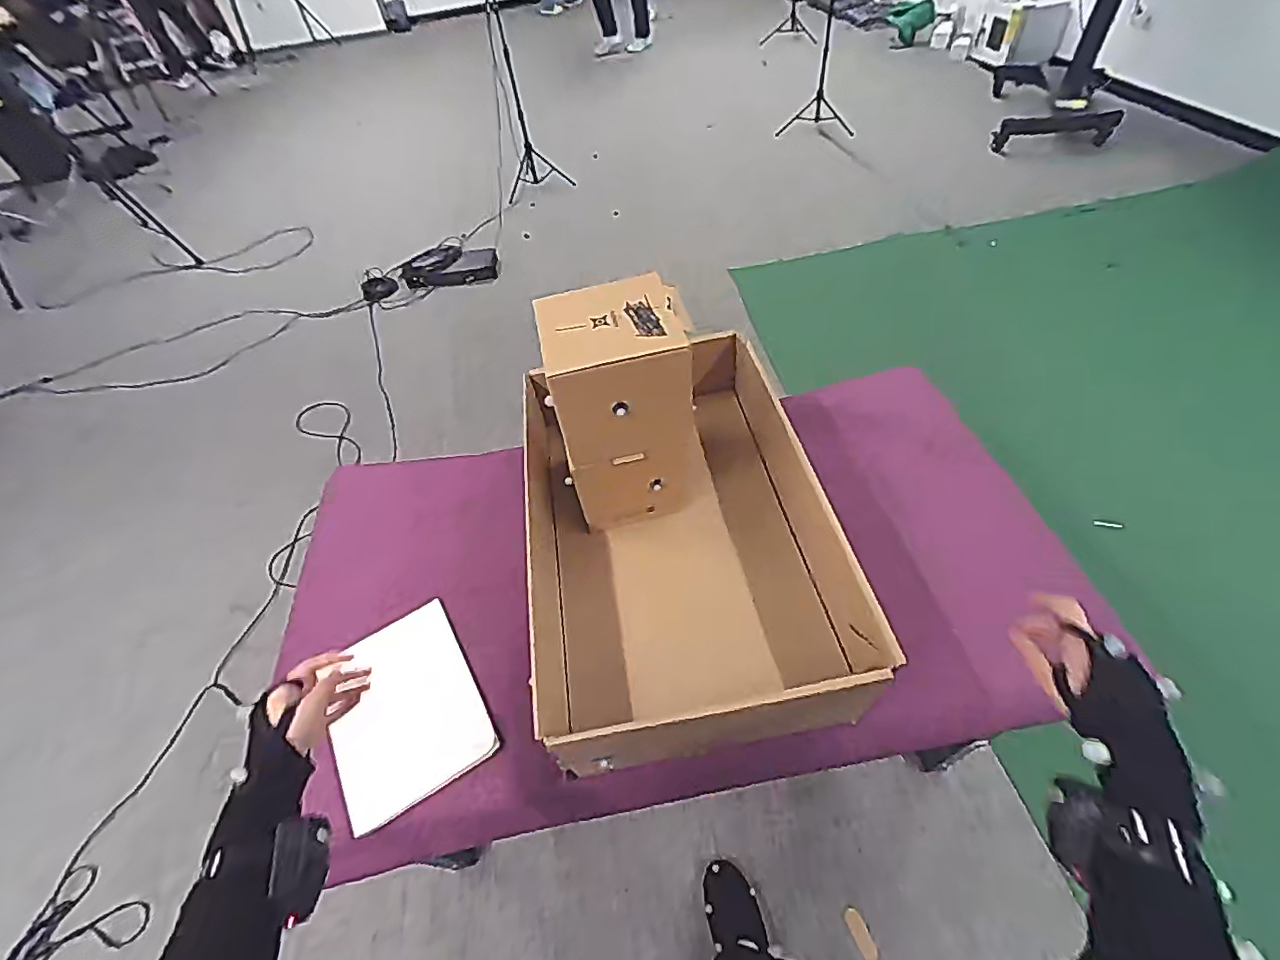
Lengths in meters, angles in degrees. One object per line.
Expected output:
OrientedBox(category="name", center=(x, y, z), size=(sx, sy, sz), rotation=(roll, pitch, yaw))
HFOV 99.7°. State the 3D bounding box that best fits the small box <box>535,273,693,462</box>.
OrientedBox(category="small box", center=(-0.032, -0.149, 0.735), size=(0.179, 0.176, 0.168), rotation=(-13, 52, -4))
